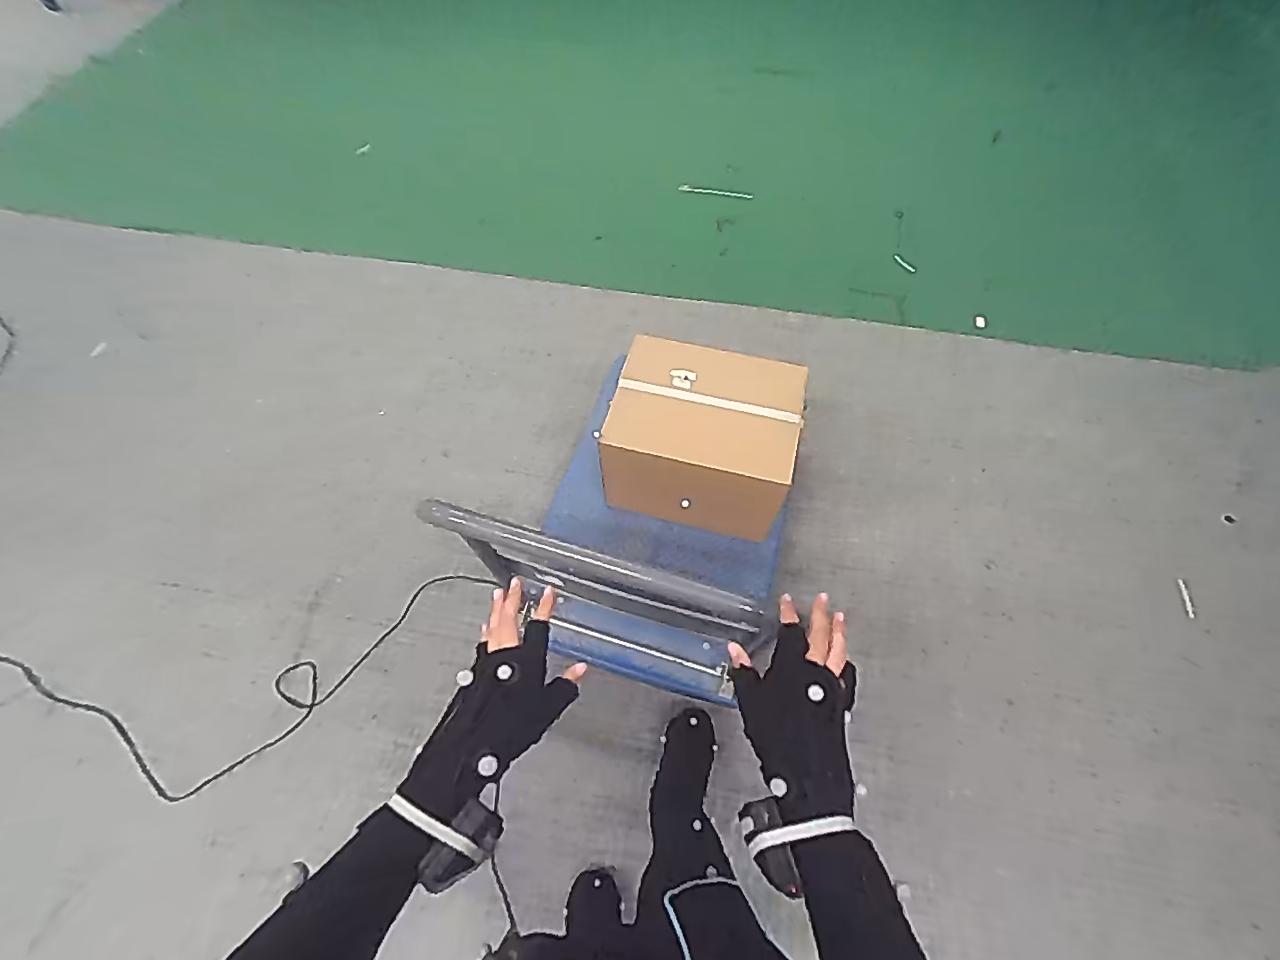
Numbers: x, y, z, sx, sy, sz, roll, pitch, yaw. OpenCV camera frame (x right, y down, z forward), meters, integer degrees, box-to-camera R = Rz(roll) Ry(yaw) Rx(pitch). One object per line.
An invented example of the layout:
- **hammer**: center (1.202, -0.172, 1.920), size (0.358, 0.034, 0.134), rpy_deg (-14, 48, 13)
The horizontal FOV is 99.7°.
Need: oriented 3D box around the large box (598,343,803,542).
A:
- **large box**: center (0.145, -0.081, 1.303), size (0.408, 0.320, 0.320), rpy_deg (13, 61, 9)
